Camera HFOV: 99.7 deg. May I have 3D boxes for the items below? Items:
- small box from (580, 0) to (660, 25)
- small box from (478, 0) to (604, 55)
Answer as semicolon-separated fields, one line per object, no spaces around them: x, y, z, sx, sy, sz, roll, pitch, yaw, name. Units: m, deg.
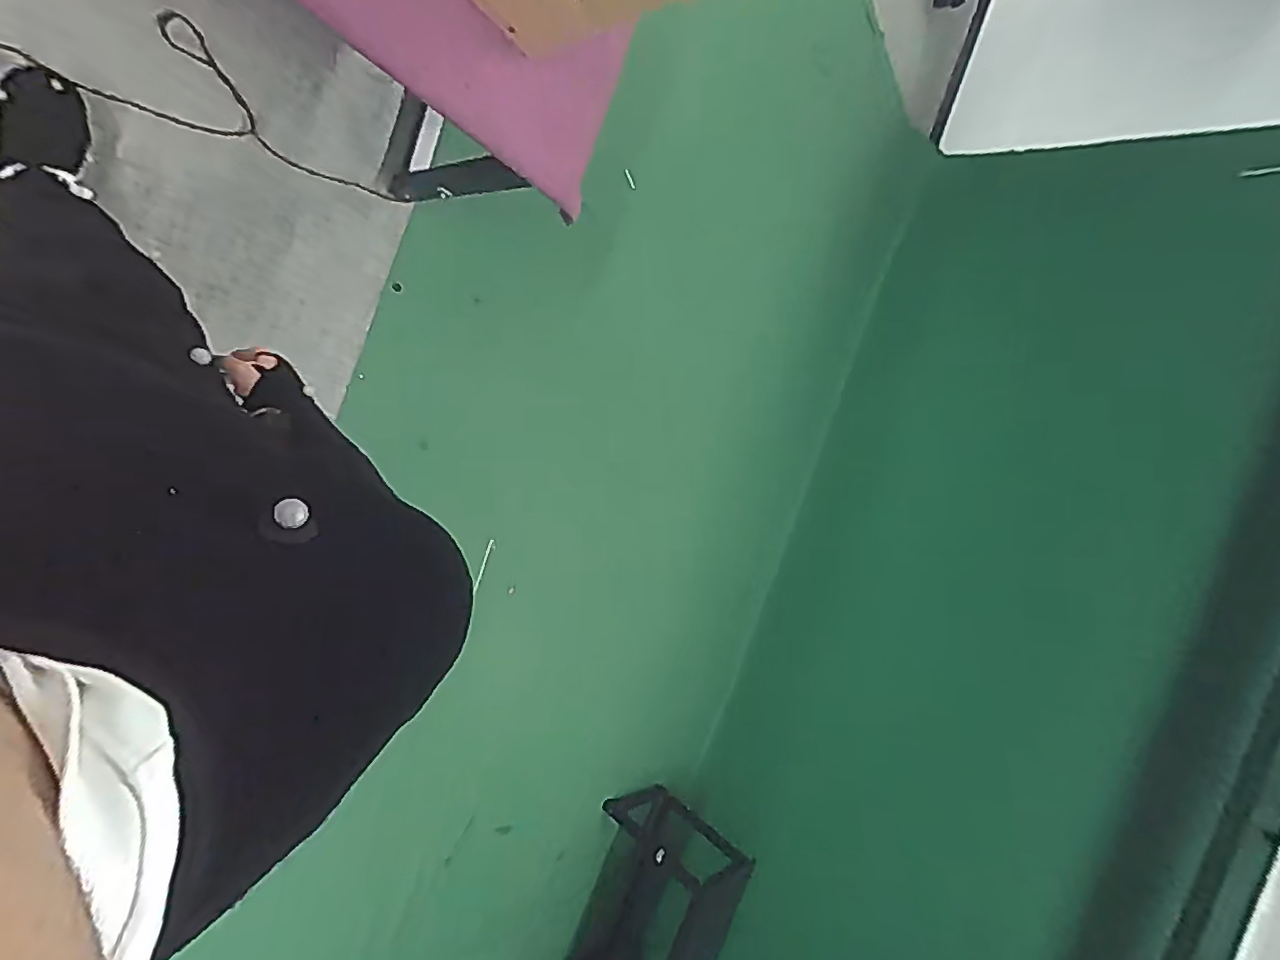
-0.021;-0.740;0.688;0.168;0.176;0.179;18;91;-50;small box
-0.139;-0.783;0.794;0.168;0.176;0.179;16;93;-49;small box
